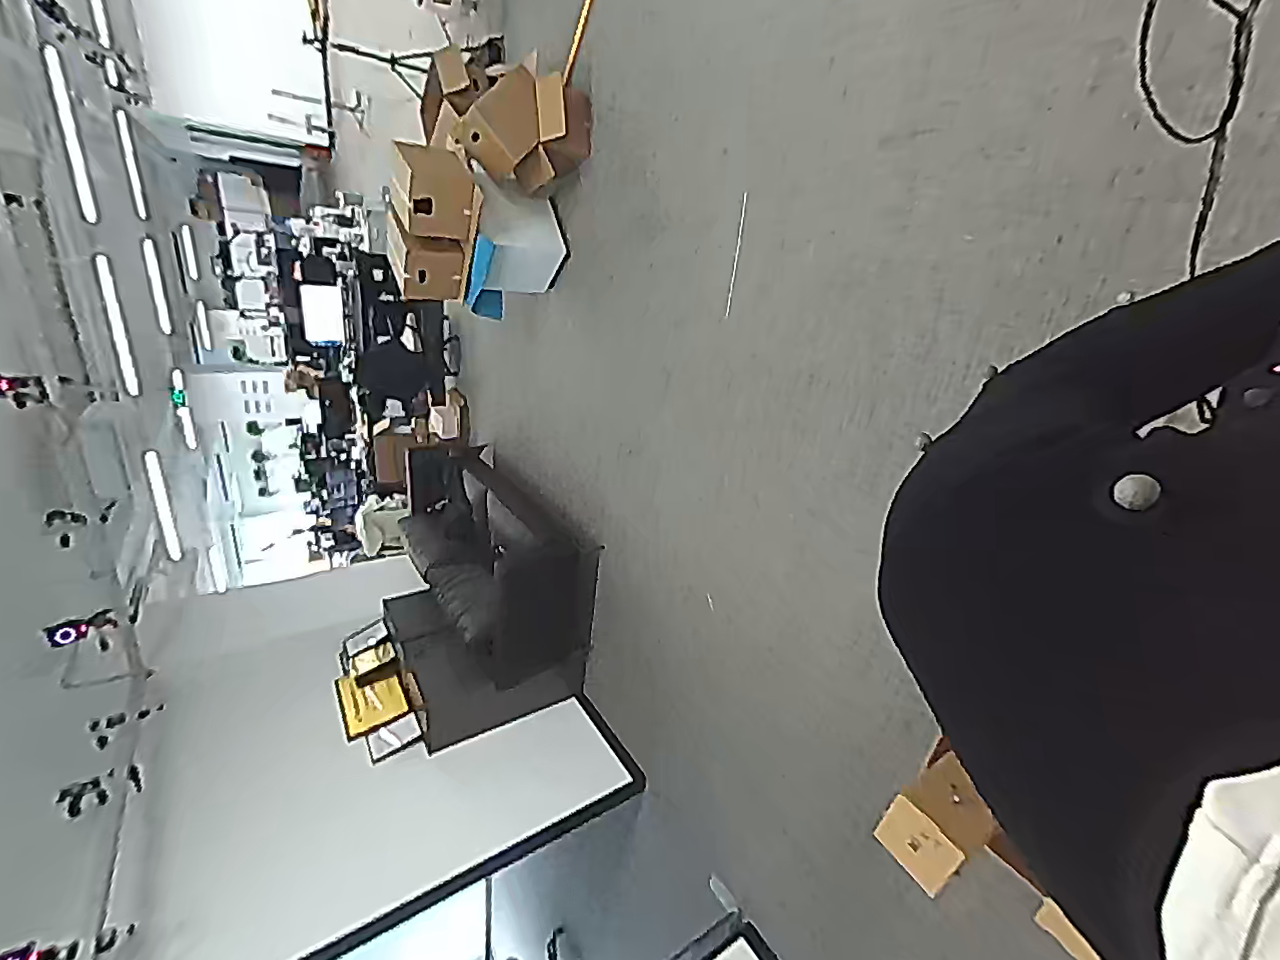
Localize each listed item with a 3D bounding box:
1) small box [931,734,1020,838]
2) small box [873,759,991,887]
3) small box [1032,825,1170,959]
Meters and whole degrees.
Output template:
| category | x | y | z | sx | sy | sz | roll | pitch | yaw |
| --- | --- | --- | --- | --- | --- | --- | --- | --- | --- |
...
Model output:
| category | x | y | z | sx | sy | sz | roll | pitch | yaw |
| --- | --- | --- | --- | --- | --- | --- | --- | --- | --- |
| small box | 0.852 | 0.812 | 1.418 | 0.168 | 0.176 | 0.179 | 40 | 128 | 44 |
| small box | 0.717 | 0.832 | 1.324 | 0.168 | 0.176 | 0.179 | 40 | 128 | 43 |
| small box | 1.021 | 0.923 | 1.197 | 0.168 | 0.176 | 0.179 | 31 | 123 | 47 |
